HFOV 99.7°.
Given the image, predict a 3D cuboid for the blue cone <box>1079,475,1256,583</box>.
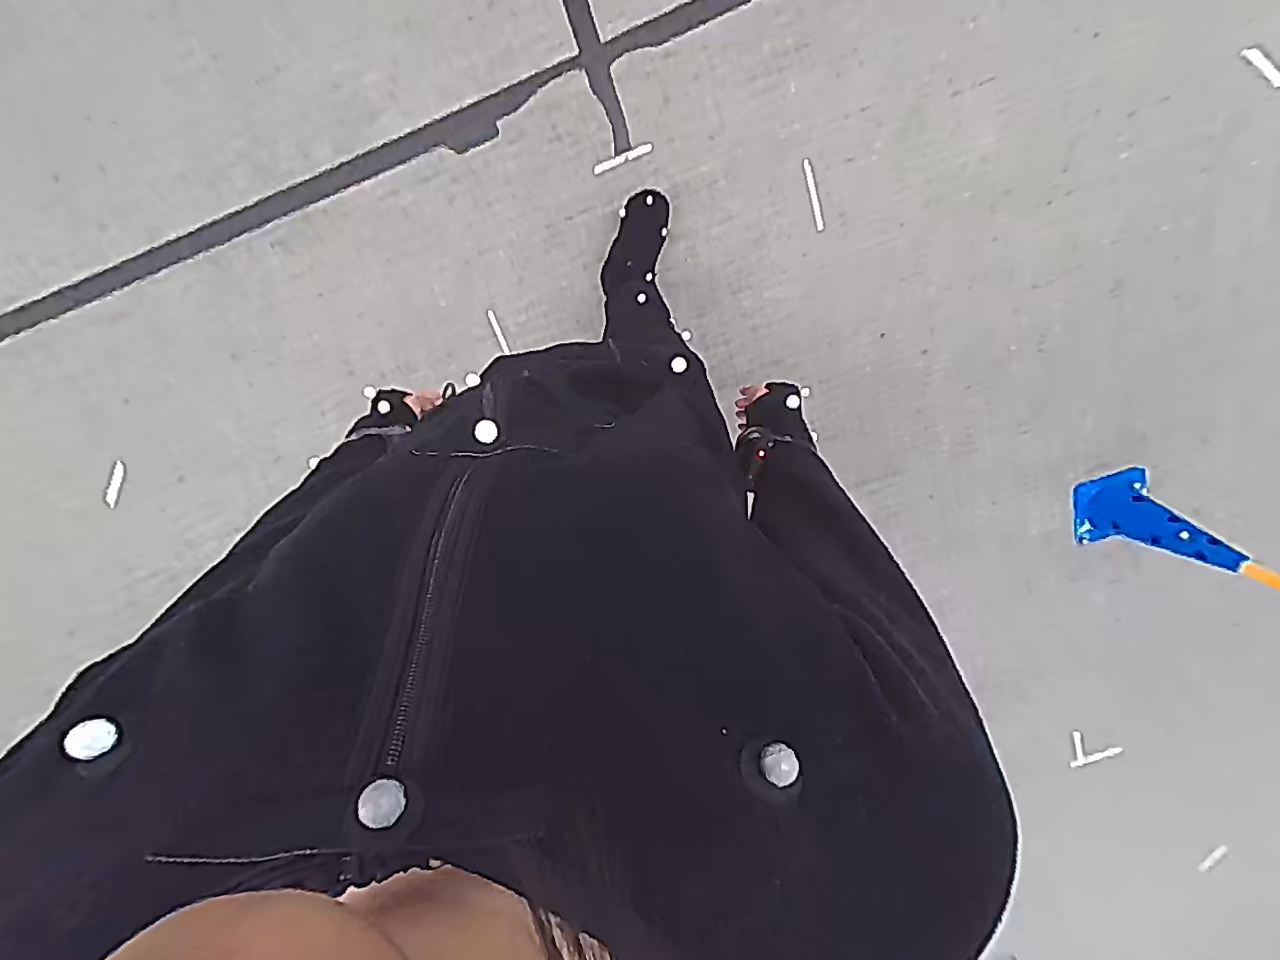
[{"bbox_3d":[1.341,0.141,1.372,0.193,0.380,0.192,-16,110,4],"label":"blue cone"}]
